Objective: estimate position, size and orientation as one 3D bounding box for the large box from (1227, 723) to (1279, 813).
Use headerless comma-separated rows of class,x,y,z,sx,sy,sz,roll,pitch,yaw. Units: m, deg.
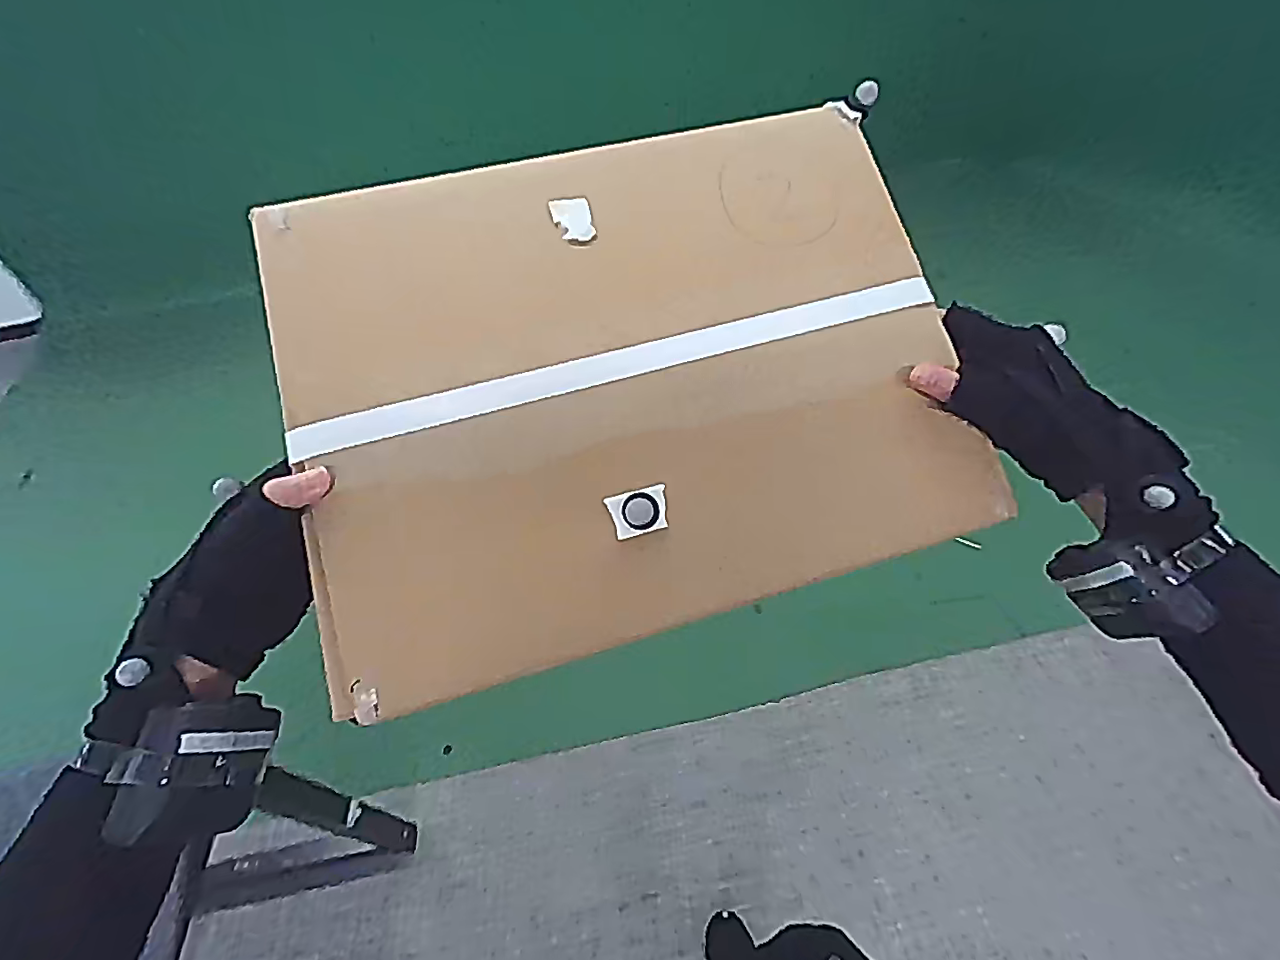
large box,1.565,0.654,1.058,0.320,0.320,0.408,-11,47,-4
